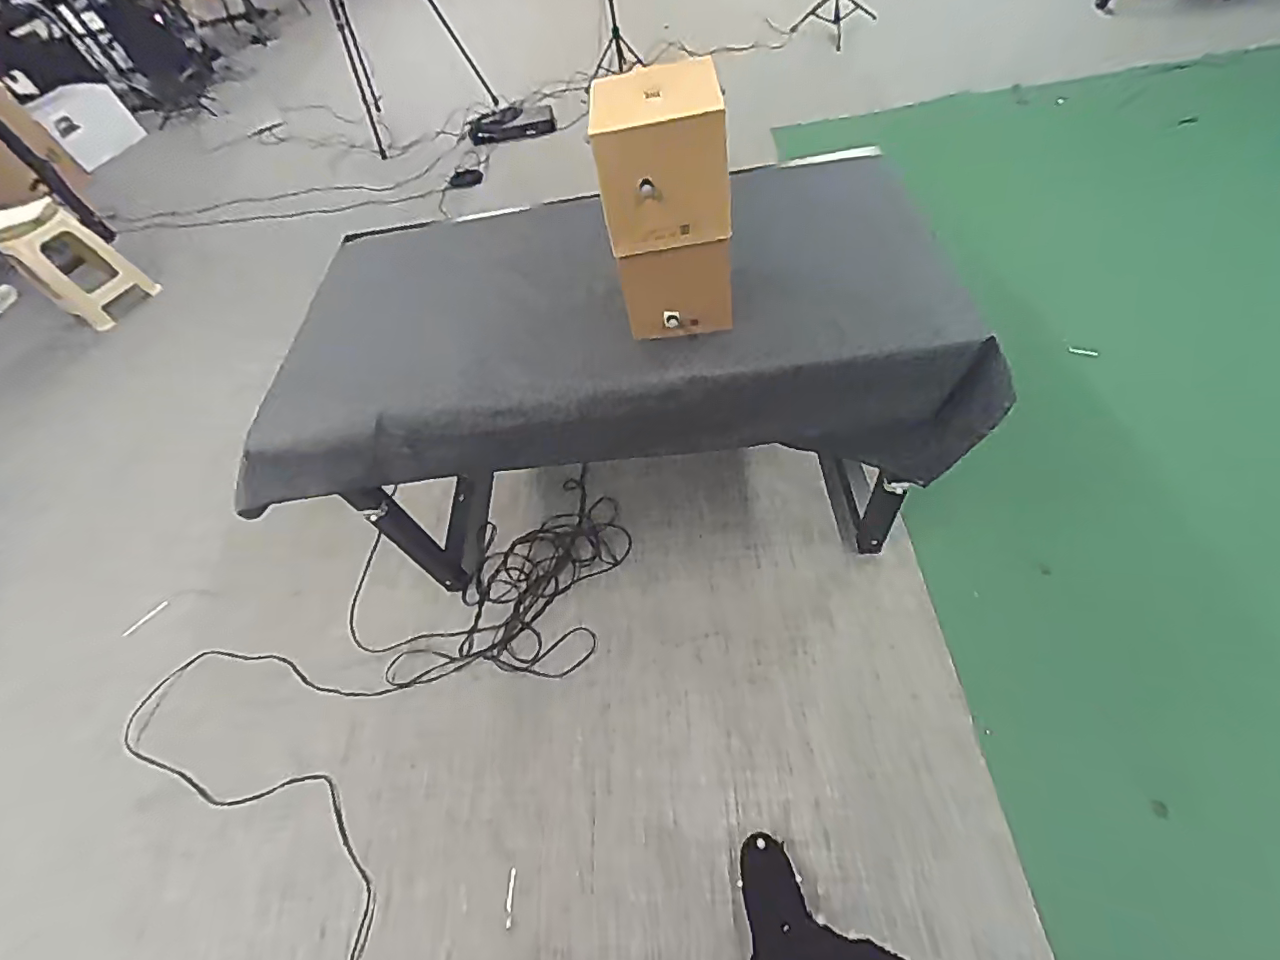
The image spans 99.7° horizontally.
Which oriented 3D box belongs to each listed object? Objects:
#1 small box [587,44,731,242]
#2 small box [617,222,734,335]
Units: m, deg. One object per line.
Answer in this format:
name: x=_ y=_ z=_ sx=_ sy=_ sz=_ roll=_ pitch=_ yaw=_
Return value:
small box: x=0.030 y=-0.446 z=0.736 sx=0.168 sy=0.176 sz=0.179 roll=-7 pitch=54 yaw=7
small box: x=0.060 y=-0.363 z=0.873 sx=0.168 sy=0.176 sz=0.179 roll=-6 pitch=56 yaw=8
